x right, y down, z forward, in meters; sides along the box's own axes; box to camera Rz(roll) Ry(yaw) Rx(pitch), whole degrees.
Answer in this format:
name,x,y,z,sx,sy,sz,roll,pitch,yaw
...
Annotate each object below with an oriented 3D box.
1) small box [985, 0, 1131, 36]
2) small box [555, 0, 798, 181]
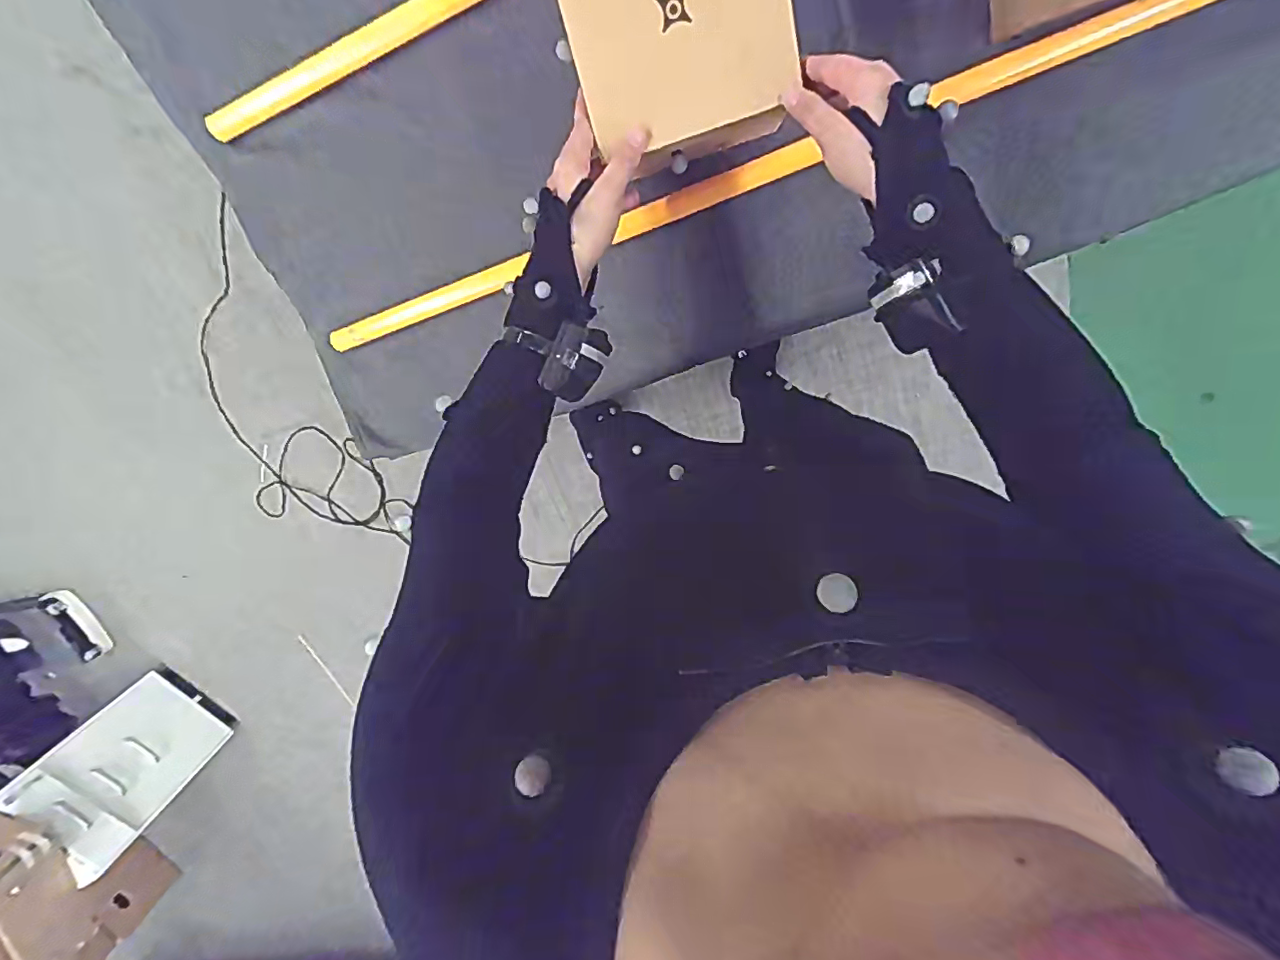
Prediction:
name,x,y,z,sx,sy,sz,roll,pitch,yaw
small box,0.367,-0.459,0.386,0.168,0.176,0.179,-12,113,14
small box,0.033,-0.377,0.471,0.168,0.176,0.179,-12,112,12
